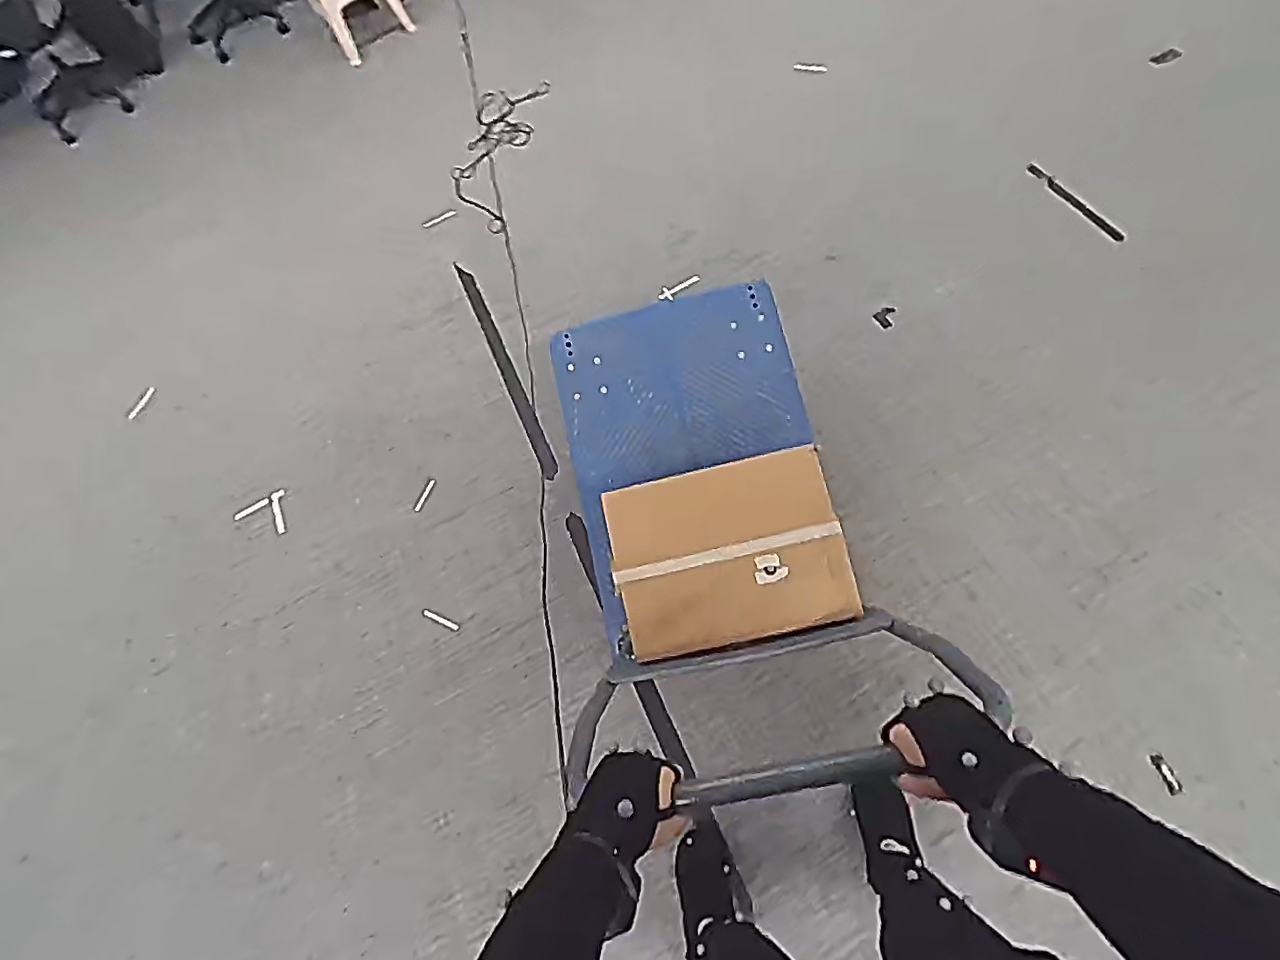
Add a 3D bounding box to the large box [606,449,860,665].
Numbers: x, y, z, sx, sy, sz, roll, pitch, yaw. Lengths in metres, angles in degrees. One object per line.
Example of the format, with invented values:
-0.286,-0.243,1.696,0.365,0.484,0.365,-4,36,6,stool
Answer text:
0.175,0.162,1.128,0.408,0.320,0.320,-14,80,3,large box
